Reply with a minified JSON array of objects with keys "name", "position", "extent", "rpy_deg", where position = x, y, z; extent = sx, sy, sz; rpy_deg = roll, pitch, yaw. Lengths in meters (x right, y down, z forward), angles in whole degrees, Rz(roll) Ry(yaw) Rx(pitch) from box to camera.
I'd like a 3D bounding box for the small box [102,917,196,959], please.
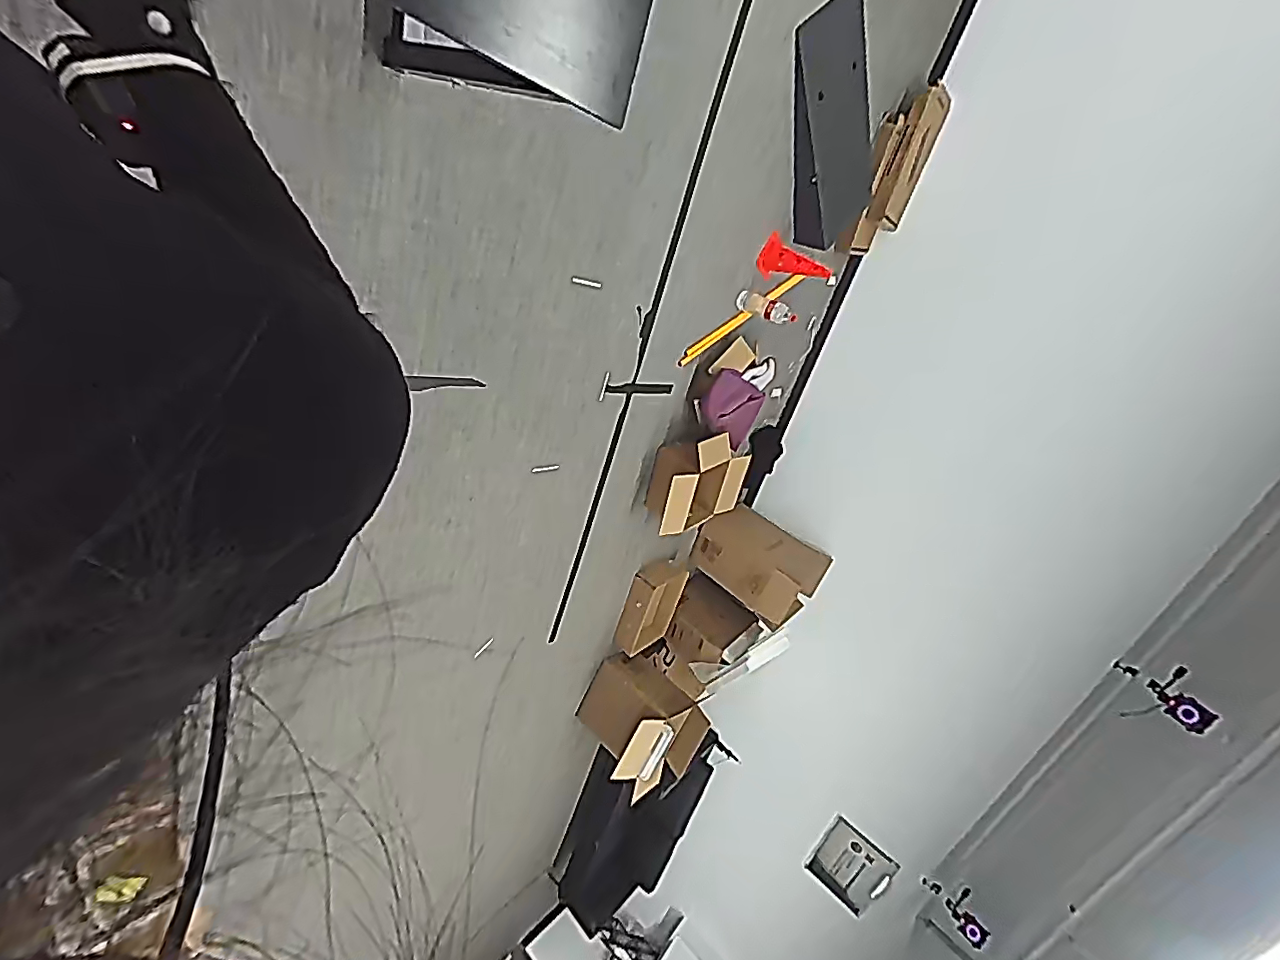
[{"name":"small box","position":[-1.186,1.227,1.311],"extent":[0.168,0.176,0.179],"rpy_deg":[-19,129,-49]}]
